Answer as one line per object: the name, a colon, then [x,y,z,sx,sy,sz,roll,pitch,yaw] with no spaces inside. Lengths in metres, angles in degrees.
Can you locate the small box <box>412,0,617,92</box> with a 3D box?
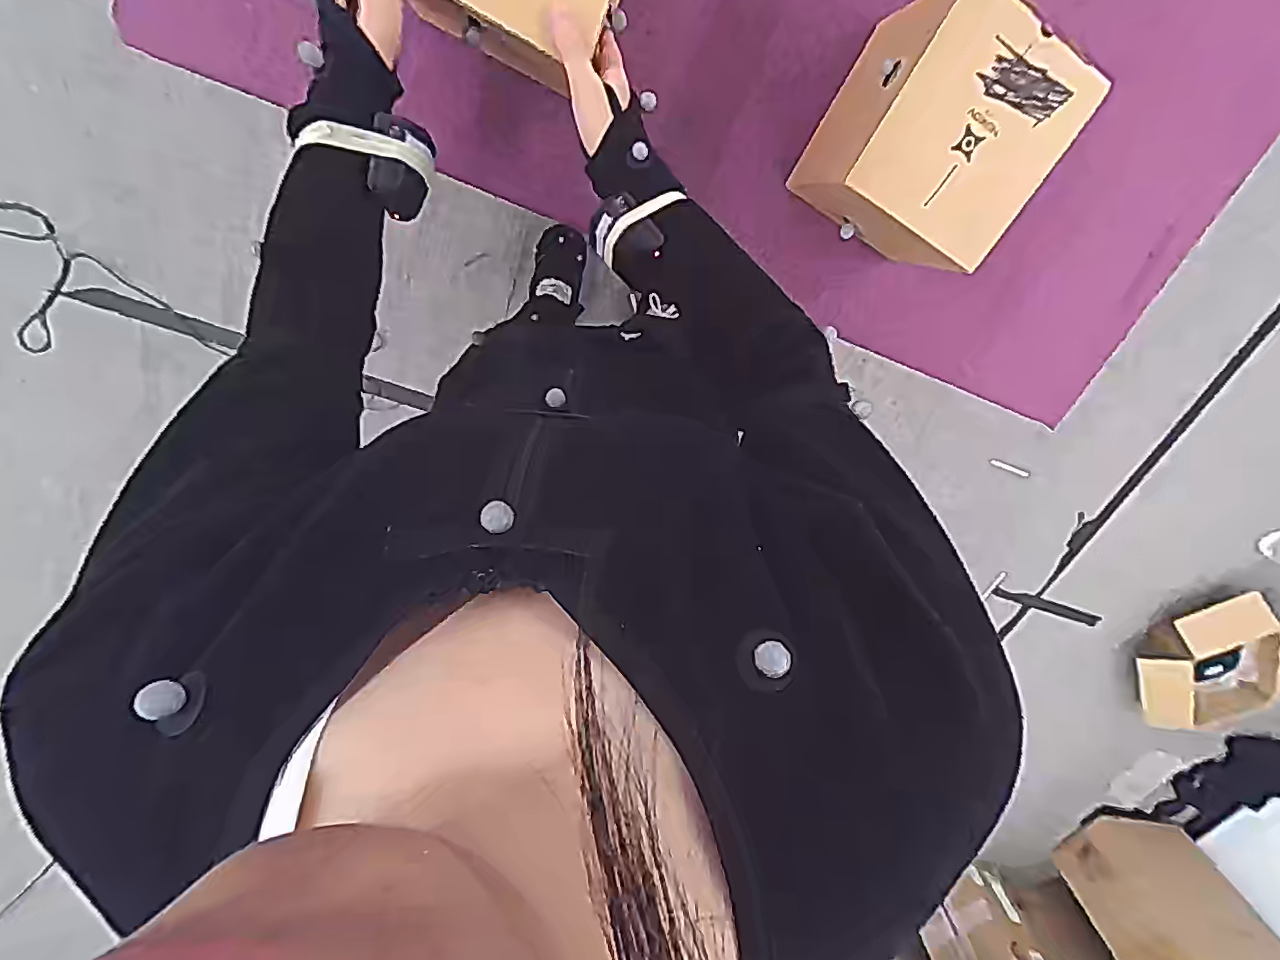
small box: [-0.098,-0.459,0.451,0.179,0.176,0.168,21,114,-15]

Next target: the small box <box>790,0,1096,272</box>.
small box: [0.281,-0.342,0.549,0.168,0.176,0.179,25,113,-17]
